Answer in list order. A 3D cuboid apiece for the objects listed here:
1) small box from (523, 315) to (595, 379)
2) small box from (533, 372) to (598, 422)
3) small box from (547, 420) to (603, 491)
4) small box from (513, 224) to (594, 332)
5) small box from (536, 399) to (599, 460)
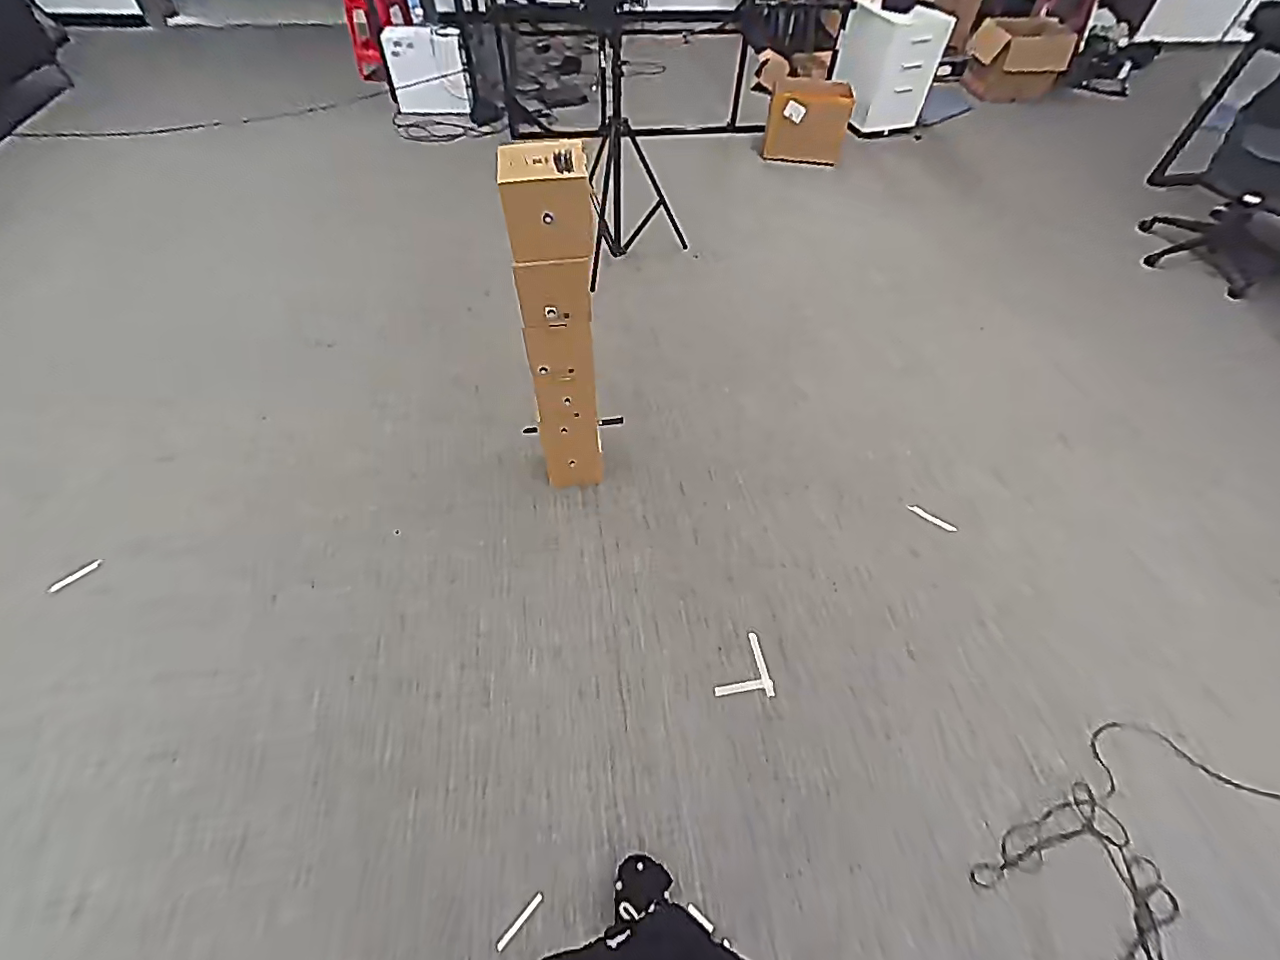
[{"bbox_3d":[-0.207,-0.375,1.398,0.168,0.176,0.179,-5,53,-5],"label":"small box"},{"bbox_3d":[-0.208,-0.276,1.529,0.168,0.176,0.179,-5,55,-5],"label":"small box"},{"bbox_3d":[-0.216,-0.081,1.792,0.179,0.176,0.168,-6,54,-6],"label":"small box"},{"bbox_3d":[-0.202,-0.472,1.269,0.168,0.176,0.179,-7,55,-6],"label":"small box"},{"bbox_3d":[-0.219,-0.176,1.657,0.179,0.176,0.168,-4,54,-4],"label":"small box"}]
